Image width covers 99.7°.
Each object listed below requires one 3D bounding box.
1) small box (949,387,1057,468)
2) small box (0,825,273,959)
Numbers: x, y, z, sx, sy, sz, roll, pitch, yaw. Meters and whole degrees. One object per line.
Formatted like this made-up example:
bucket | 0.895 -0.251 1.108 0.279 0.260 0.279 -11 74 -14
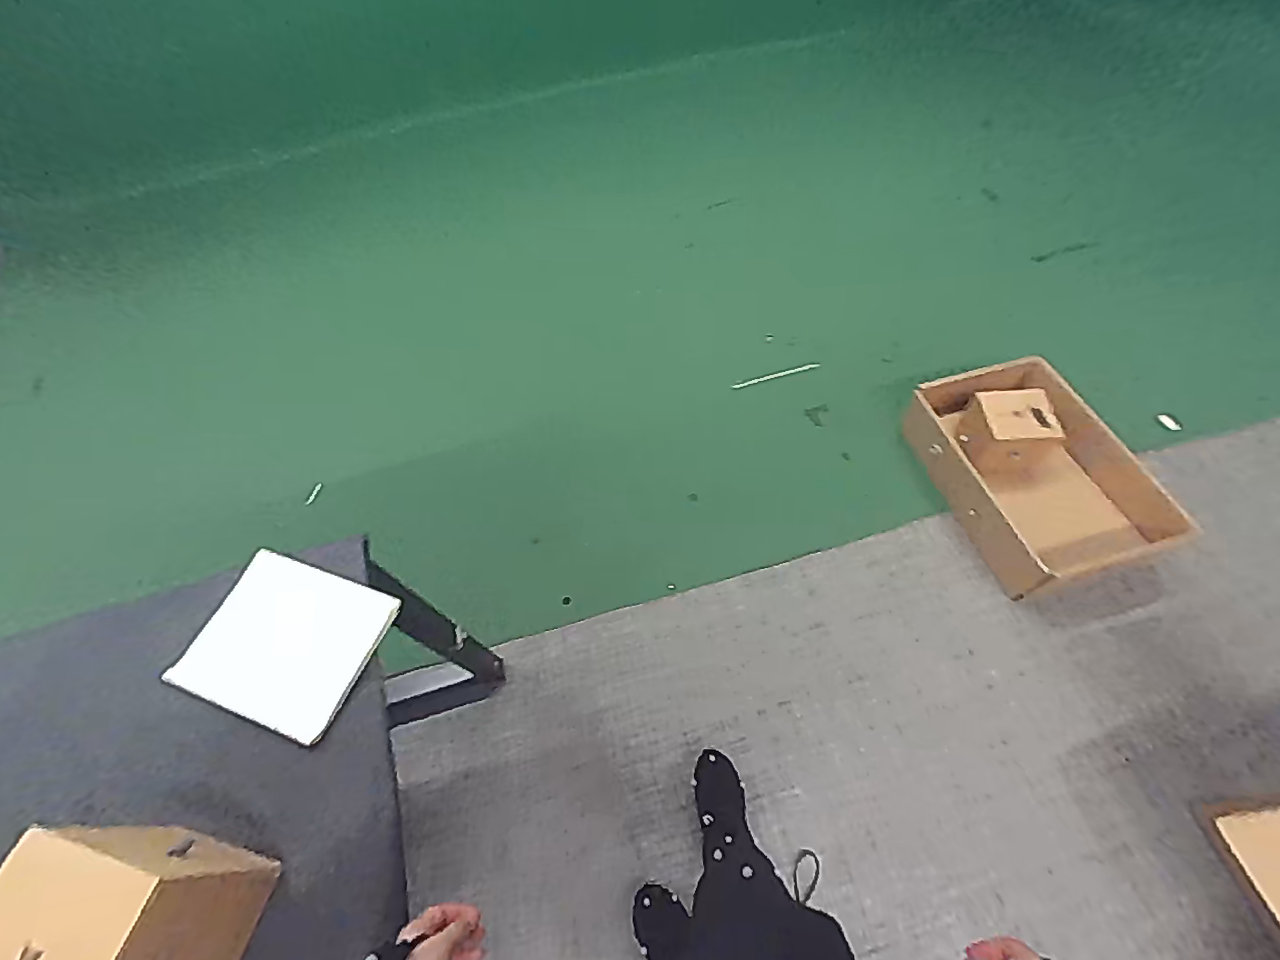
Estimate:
small box | 1.019 -0.144 1.533 0.179 0.176 0.168 -2 59 4
small box | -0.507 0.452 0.523 0.168 0.176 0.179 8 61 12
